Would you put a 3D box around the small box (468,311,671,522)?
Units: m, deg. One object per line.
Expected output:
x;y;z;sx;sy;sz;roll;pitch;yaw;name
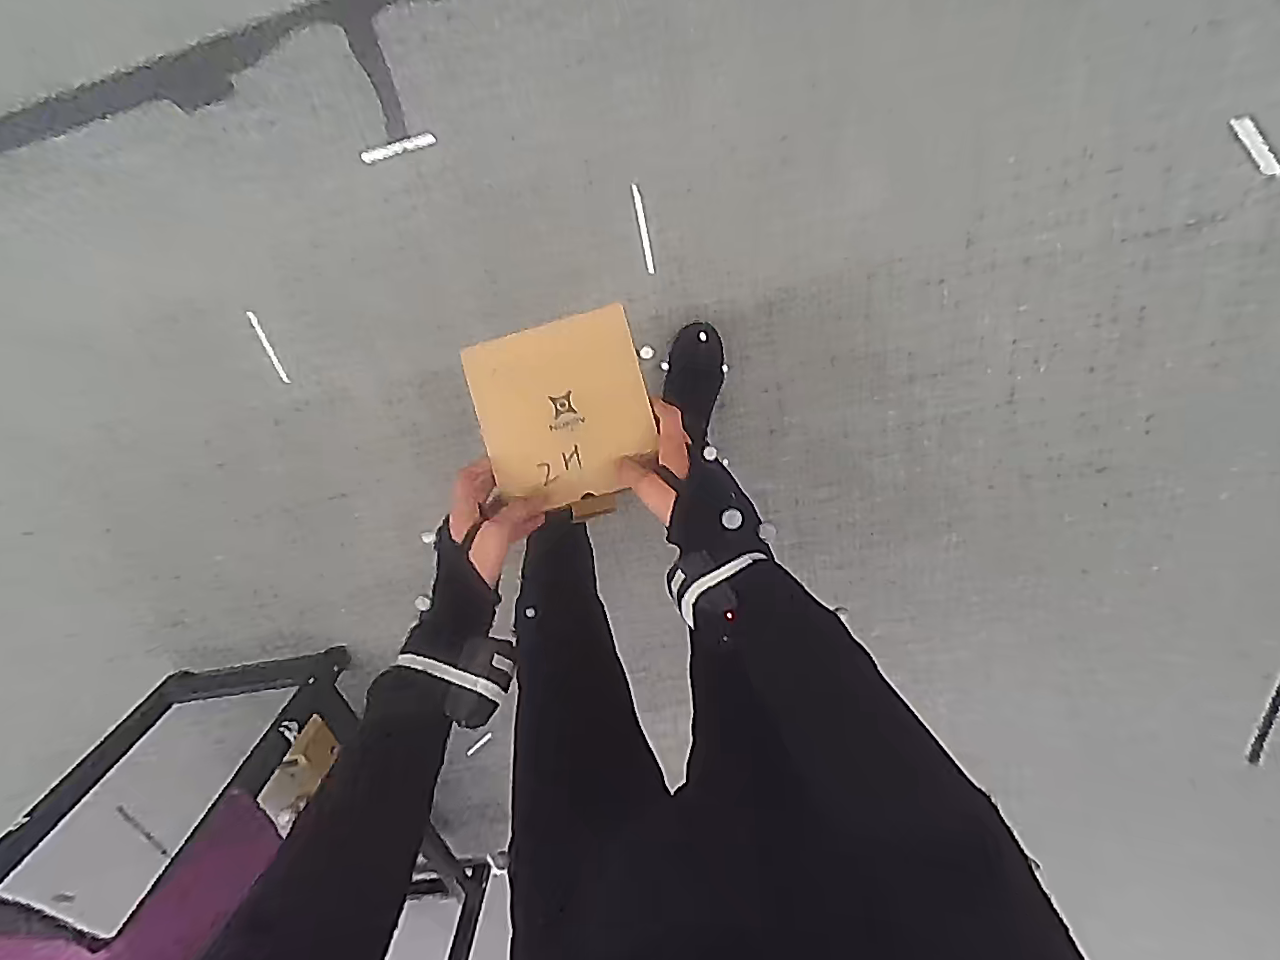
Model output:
-0.066;-0.064;0.602;0.168;0.176;0.179;-15;93;4;small box
